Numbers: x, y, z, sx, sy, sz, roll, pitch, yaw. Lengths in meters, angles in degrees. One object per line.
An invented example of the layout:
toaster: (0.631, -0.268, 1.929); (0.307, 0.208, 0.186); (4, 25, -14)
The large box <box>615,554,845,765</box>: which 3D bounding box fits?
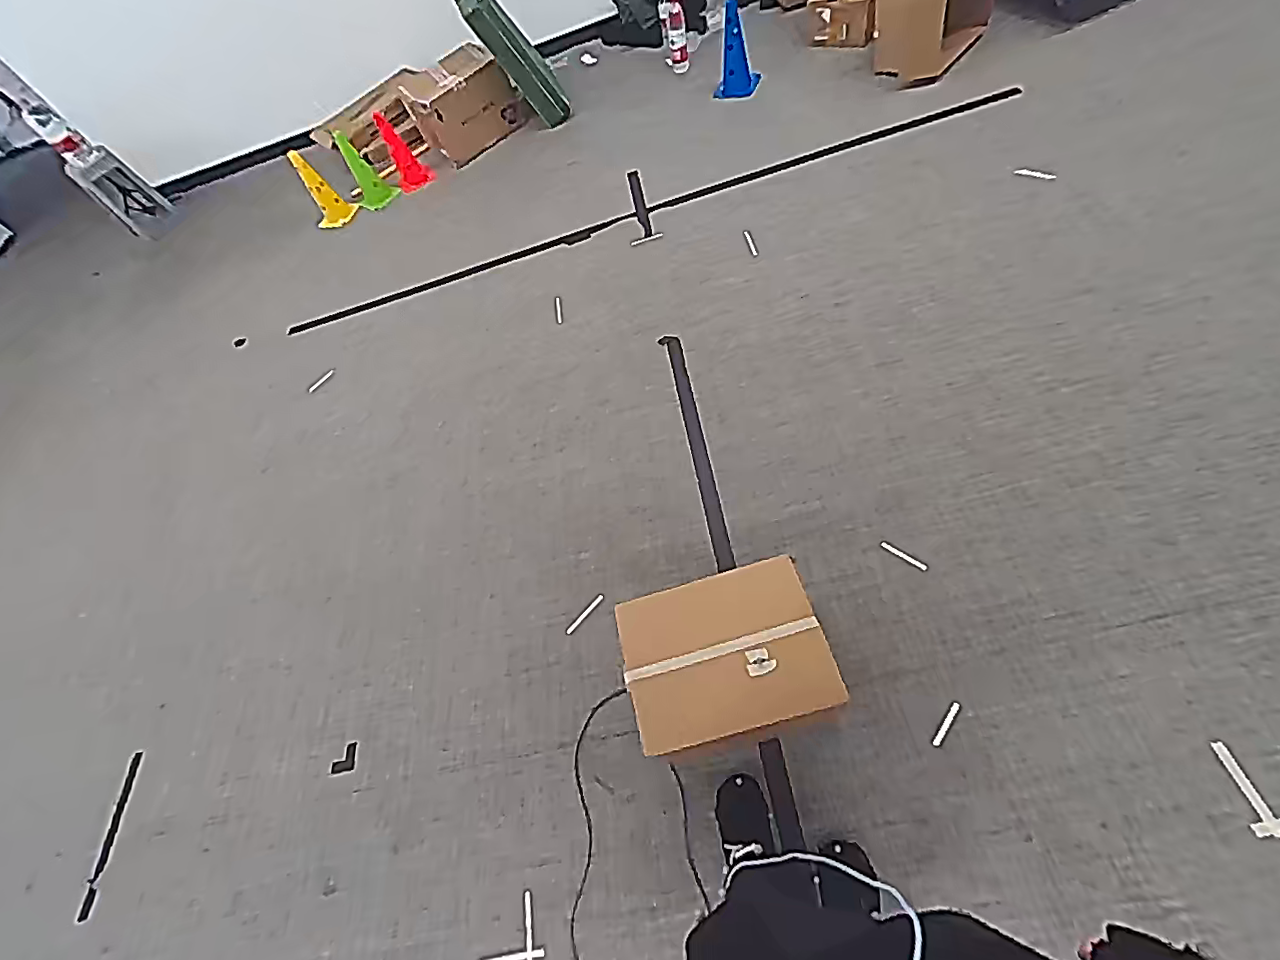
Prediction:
large box: (0.195, 0.418, 1.222); (0.408, 0.320, 0.320); (-18, 58, 4)
